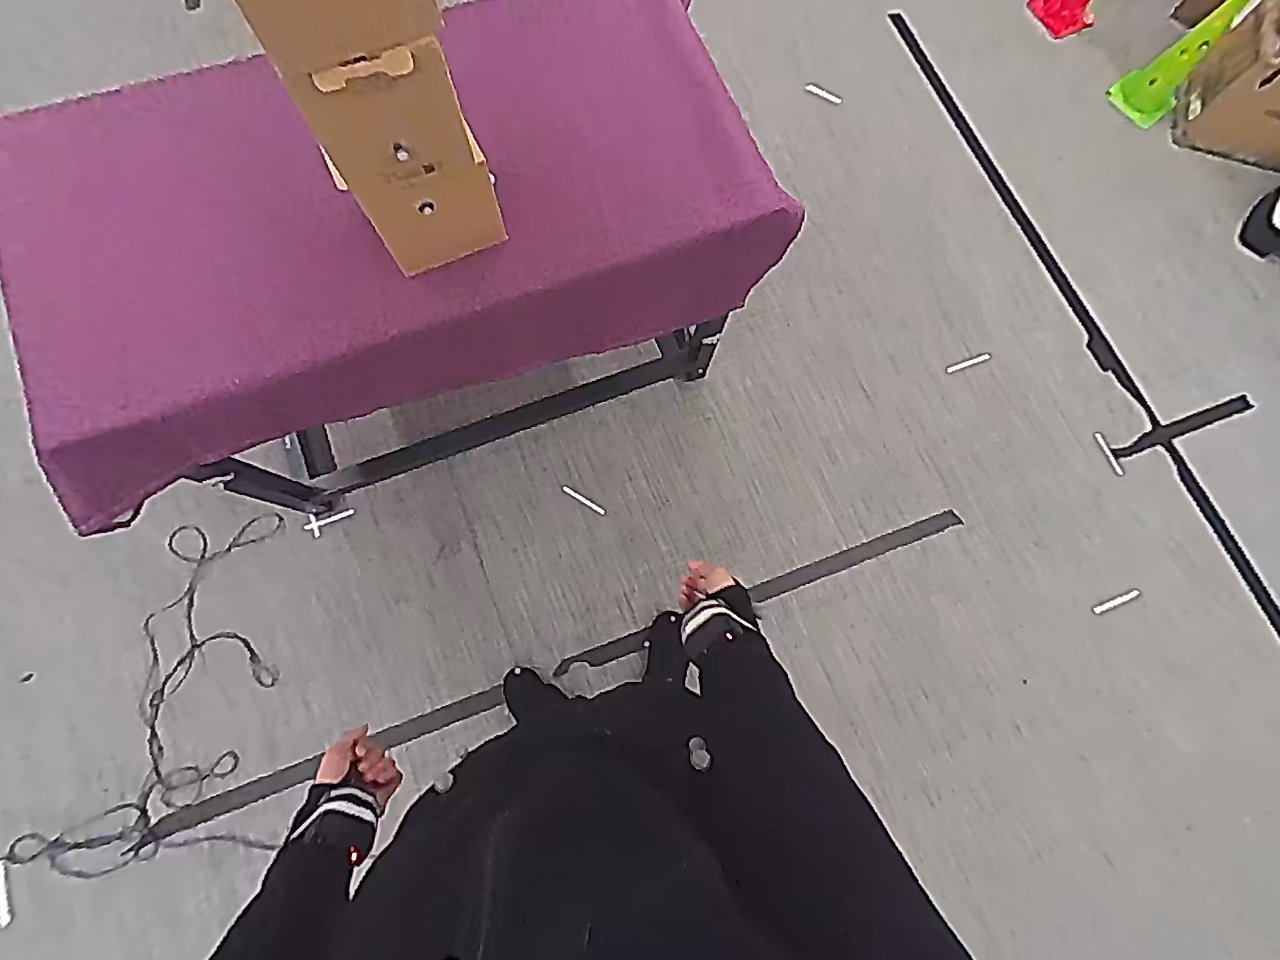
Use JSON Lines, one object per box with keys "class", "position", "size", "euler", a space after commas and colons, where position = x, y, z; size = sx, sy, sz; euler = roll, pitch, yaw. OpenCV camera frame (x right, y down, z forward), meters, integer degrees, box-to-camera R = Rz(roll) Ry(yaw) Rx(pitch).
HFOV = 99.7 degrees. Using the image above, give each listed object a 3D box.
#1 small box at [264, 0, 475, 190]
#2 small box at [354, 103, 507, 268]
{"class": "small box", "position": [-0.316, -0.493, 0.649], "size": [0.168, 0.176, 0.179], "euler": [-19, 78, -6]}
{"class": "small box", "position": [-0.321, -0.452, 0.808], "size": [0.179, 0.176, 0.168], "euler": [-24, 79, -9]}
